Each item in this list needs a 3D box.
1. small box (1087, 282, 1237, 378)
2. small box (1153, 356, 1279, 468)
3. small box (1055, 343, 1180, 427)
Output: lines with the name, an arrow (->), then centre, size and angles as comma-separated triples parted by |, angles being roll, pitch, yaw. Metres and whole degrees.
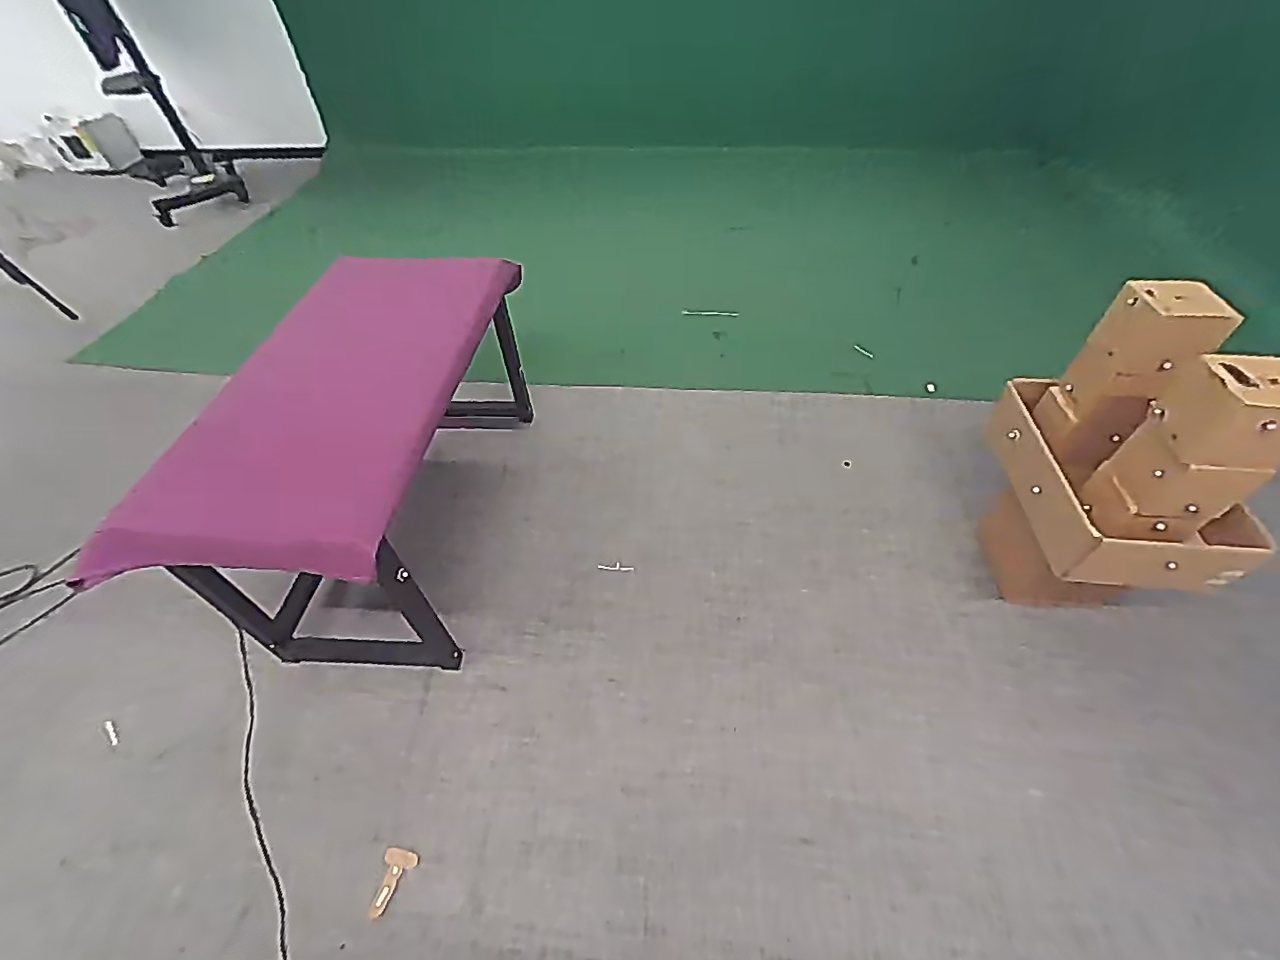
small box -> 1.281, -0.370, 1.345 | 0.179, 0.176, 0.168 | 3, 47, 4
small box -> 1.247, -0.141, 1.140 | 0.179, 0.176, 0.168 | 5, 50, 7
small box -> 1.288, -0.260, 1.467 | 0.179, 0.176, 0.168 | 5, 48, 7
